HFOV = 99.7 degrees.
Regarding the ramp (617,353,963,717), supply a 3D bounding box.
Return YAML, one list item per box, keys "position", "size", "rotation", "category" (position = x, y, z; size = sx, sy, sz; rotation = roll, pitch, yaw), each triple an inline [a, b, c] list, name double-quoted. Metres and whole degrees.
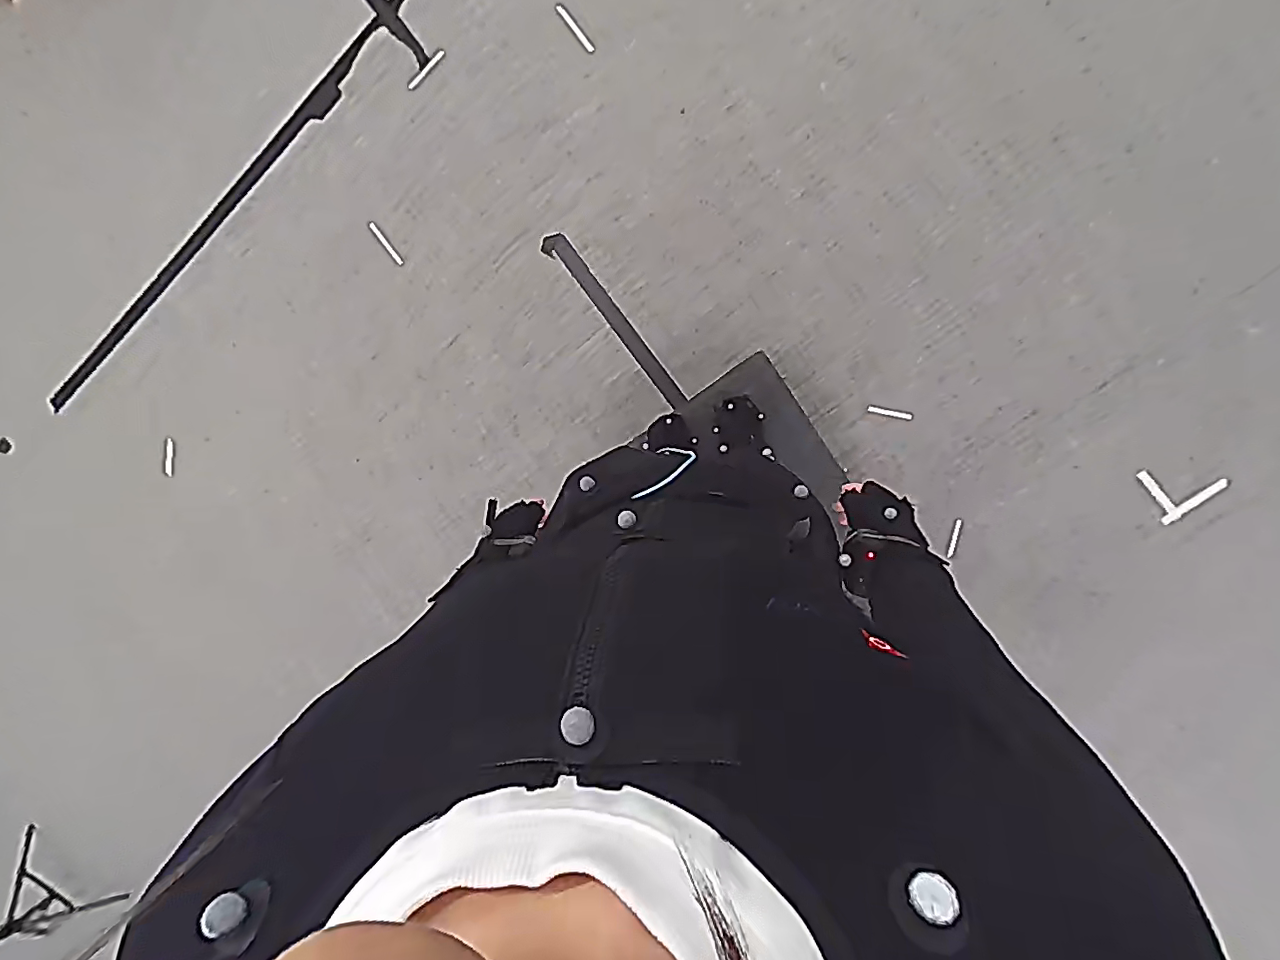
- position: [0.431, 0.195, 1.494]
  size: [0.509, 0.206, 0.991]
  rotation: [-38, 91, 11]
  category: "ramp"
